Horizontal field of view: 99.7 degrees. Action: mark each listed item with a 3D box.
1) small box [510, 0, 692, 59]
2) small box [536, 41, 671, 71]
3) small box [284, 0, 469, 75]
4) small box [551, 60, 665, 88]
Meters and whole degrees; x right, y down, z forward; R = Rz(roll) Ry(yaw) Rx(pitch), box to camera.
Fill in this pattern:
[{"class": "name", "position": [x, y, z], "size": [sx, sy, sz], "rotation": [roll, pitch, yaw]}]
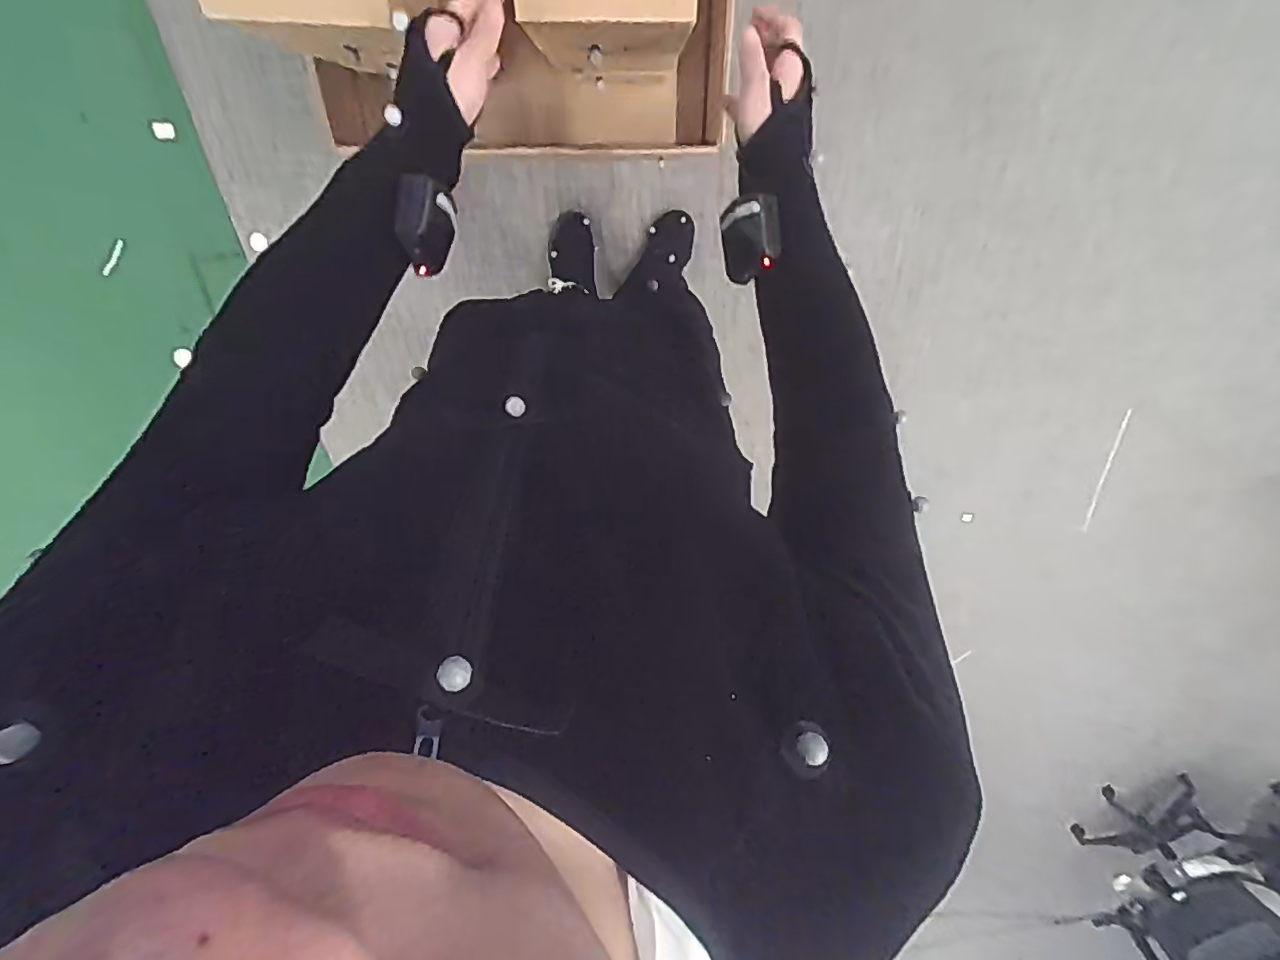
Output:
[{"class": "small box", "position": [-0.036, -0.529, 0.516], "size": [0.168, 0.176, 0.179], "rotation": [0, 121, -1]}, {"class": "small box", "position": [-0.039, -0.614, 0.655], "size": [0.168, 0.176, 0.179], "rotation": [-1, 119, -1]}, {"class": "small box", "position": [-0.314, -0.605, 0.651], "size": [0.168, 0.176, 0.179], "rotation": [0, 120, -3]}, {"class": "small box", "position": [-0.043, -0.695, 0.798], "size": [0.168, 0.176, 0.179], "rotation": [0, 120, -1]}]
